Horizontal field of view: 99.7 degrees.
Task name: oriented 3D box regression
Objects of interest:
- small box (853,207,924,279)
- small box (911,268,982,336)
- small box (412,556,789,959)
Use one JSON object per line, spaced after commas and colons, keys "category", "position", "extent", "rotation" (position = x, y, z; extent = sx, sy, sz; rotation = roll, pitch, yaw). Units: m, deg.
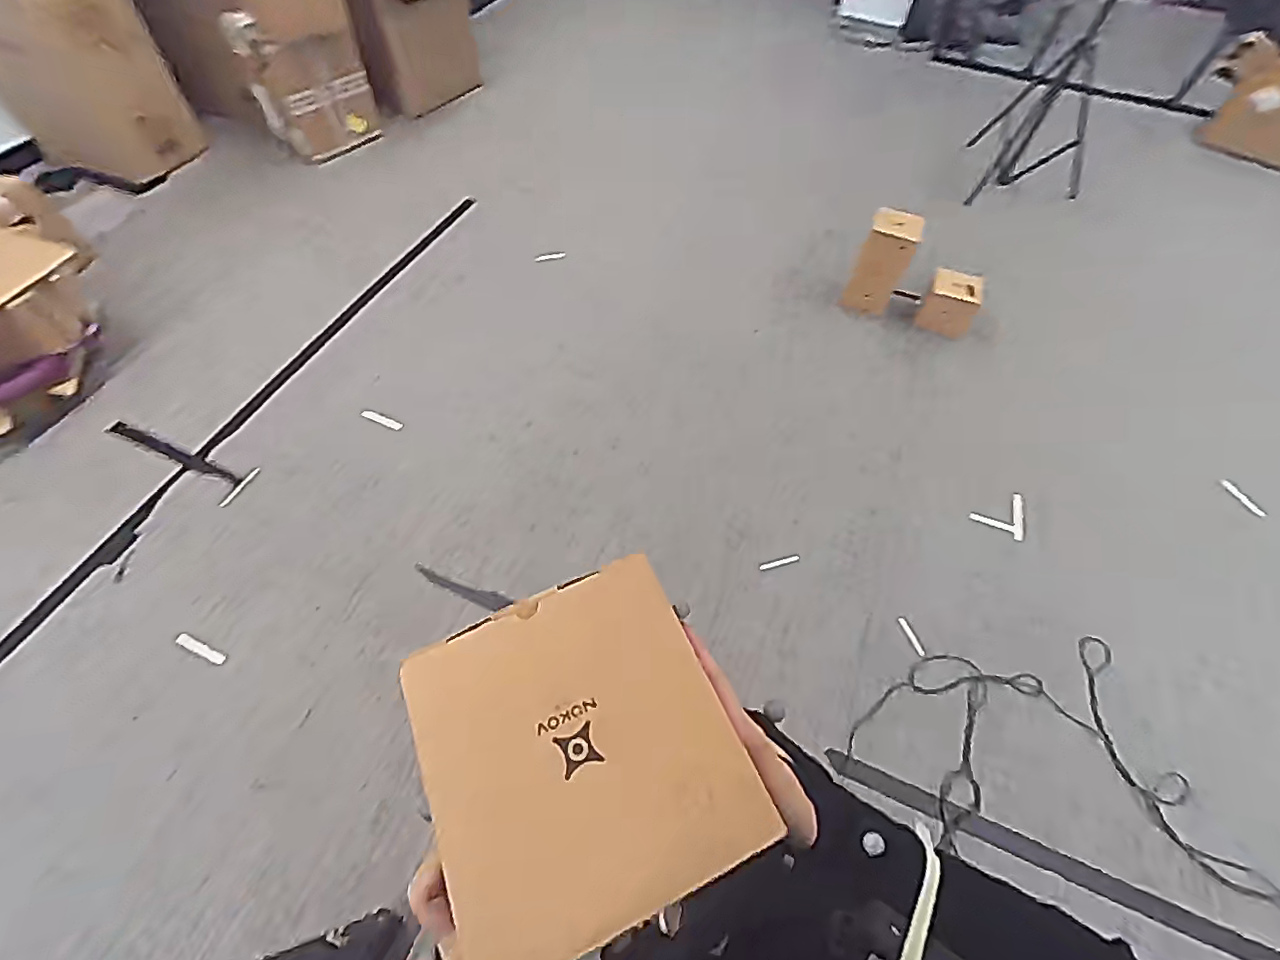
{"category": "small box", "position": [0.923, -0.876, 2.014], "extent": [0.179, 0.176, 0.168], "rotation": [21, 58, 11]}
{"category": "small box", "position": [1.190, -0.688, 2.102], "extent": [0.179, 0.176, 0.168], "rotation": [19, 59, 11]}
{"category": "small box", "position": [-0.027, 0.185, 0.368], "extent": [0.168, 0.176, 0.179], "rotation": [-22, 60, -11]}
